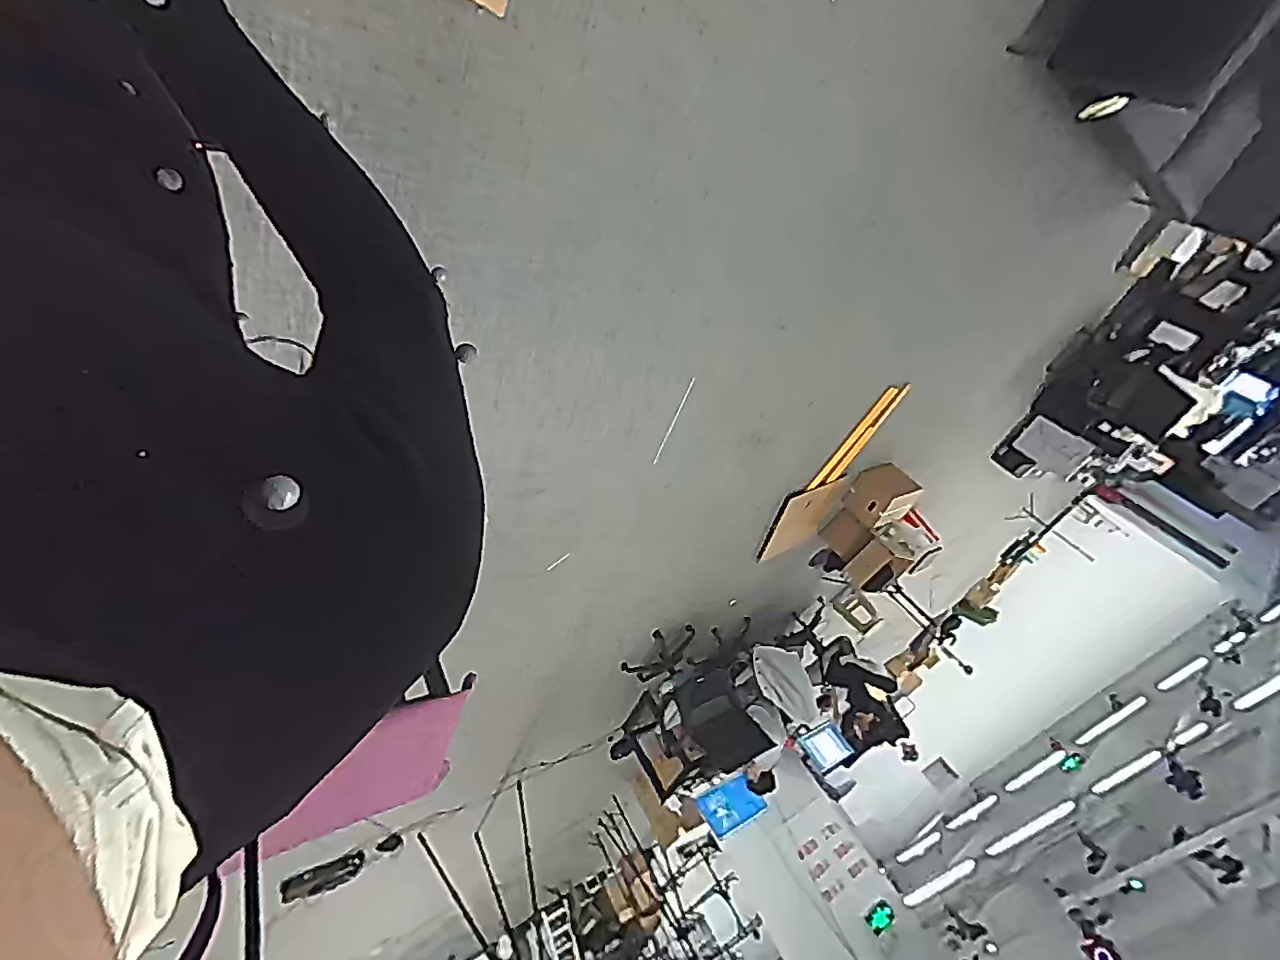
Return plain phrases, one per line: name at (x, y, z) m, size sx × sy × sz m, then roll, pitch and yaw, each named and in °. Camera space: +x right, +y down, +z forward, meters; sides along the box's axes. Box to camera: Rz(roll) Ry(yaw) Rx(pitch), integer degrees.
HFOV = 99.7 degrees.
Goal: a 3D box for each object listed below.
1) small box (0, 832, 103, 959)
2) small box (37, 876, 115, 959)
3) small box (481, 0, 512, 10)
small box at (-1.271, 0.894, 1.150) m, size 0.179 × 0.176 × 0.168 m, roll -2°, pitch 132°, yaw -41°
small box at (-1.369, 1.086, 1.280) m, size 0.168 × 0.176 × 0.179 m, roll -3°, pitch 132°, yaw -39°
small box at (-0.336, -1.056, 1.040) m, size 0.179 × 0.176 × 0.168 m, roll -1°, pitch 130°, yaw -41°
